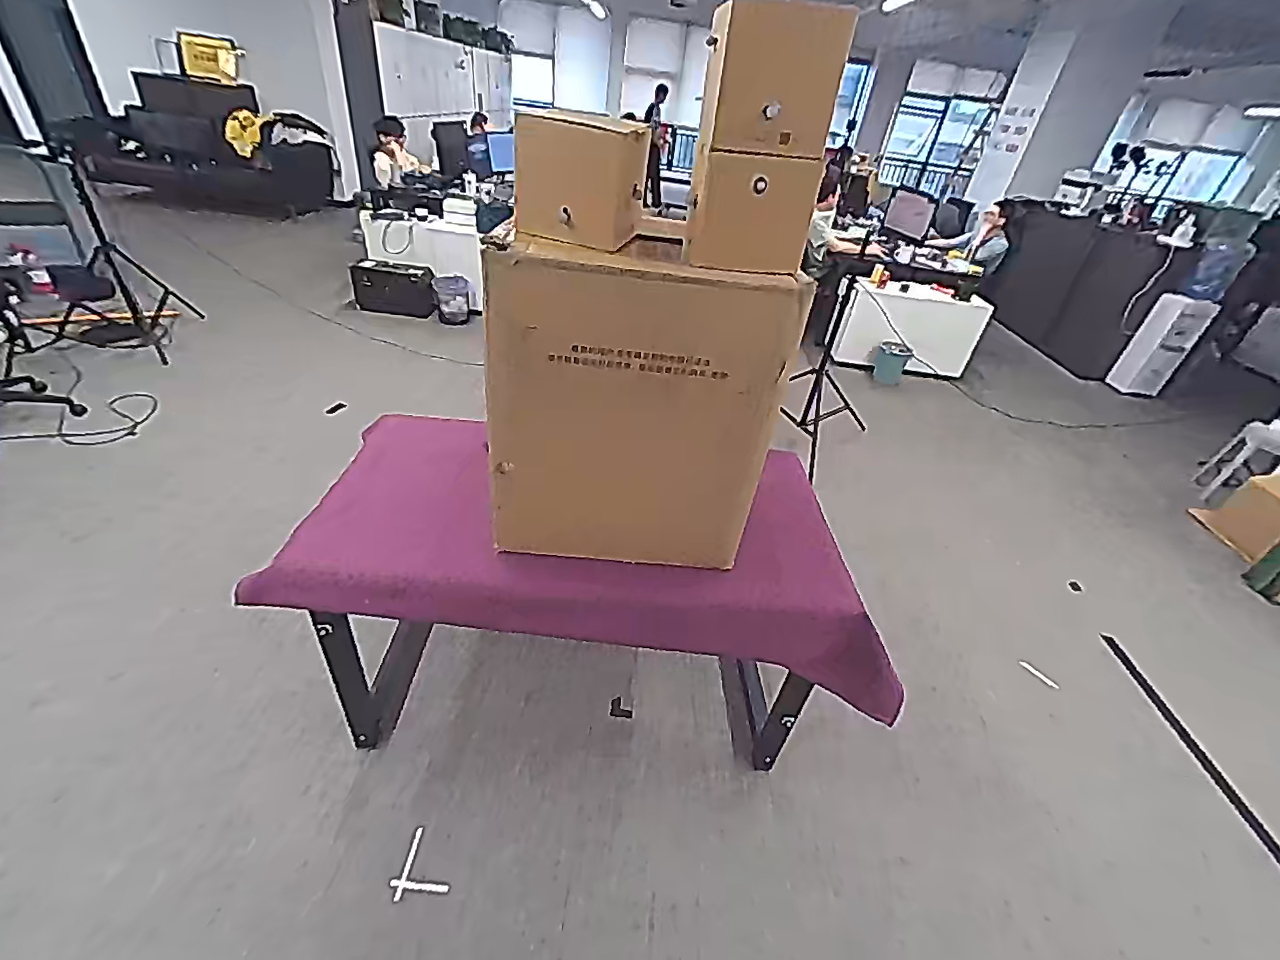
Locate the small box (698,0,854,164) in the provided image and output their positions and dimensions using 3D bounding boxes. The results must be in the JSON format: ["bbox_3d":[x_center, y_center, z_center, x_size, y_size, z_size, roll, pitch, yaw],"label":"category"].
[{"bbox_3d":[0.183,-0.575,0.792,0.168,0.176,0.179,3,37,-3],"label":"small box"}]

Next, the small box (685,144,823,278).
[{"bbox_3d":[0.171,-0.440,0.885,0.179,0.176,0.168,3,36,-5],"label":"small box"}]

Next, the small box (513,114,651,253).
[{"bbox_3d":[-0.095,-0.488,0.893,0.179,0.176,0.168,15,37,7],"label":"small box"}]
